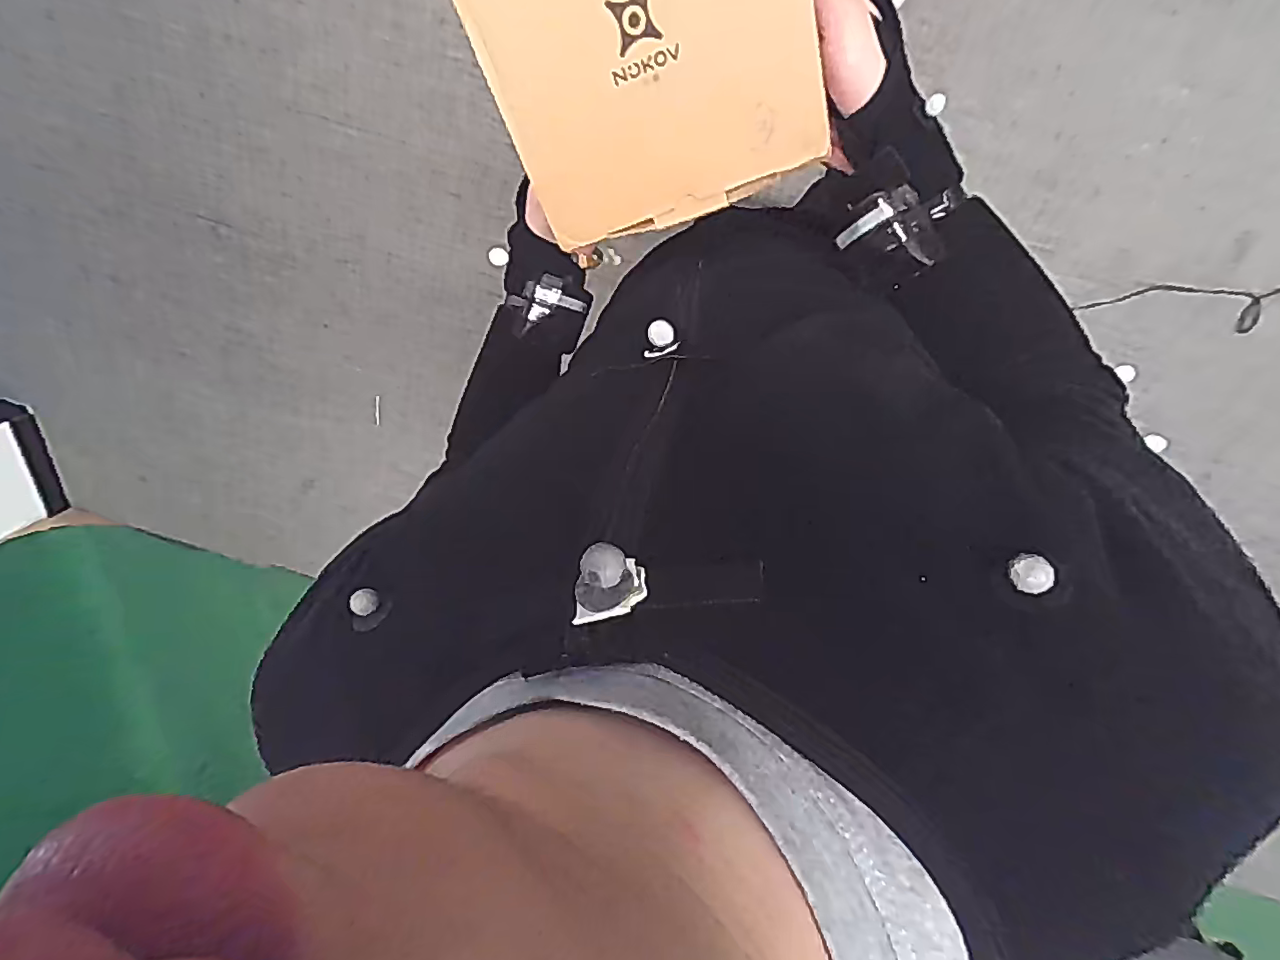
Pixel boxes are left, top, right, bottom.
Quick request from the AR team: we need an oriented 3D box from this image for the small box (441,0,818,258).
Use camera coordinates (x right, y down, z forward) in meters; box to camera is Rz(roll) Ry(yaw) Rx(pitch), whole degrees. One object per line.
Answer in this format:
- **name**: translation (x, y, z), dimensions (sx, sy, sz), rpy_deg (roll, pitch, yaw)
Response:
- **small box**: translation (0.002, -0.270, 0.330), dimensions (0.168, 0.176, 0.179), rpy_deg (-14, 126, 17)
